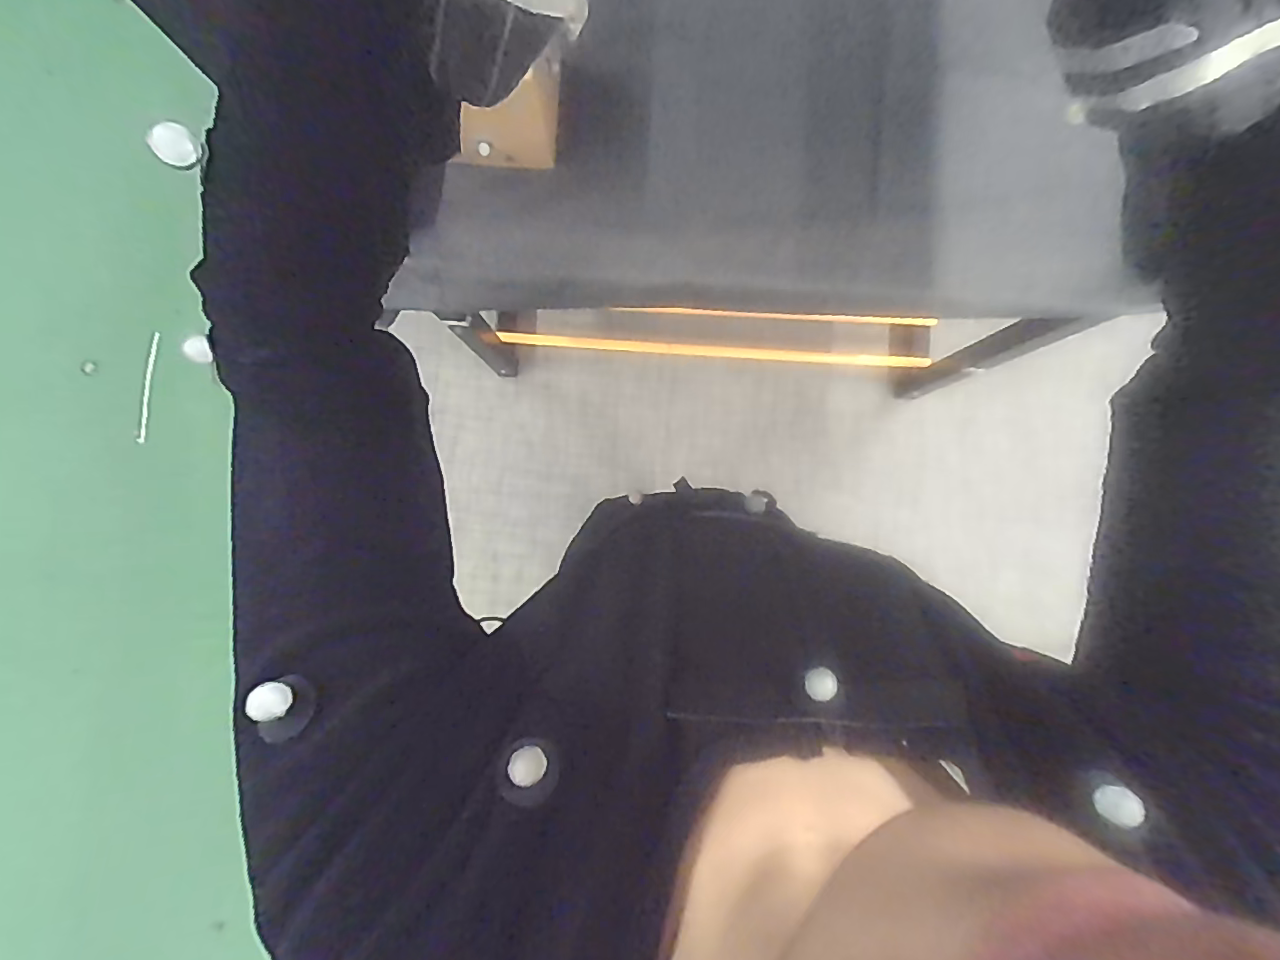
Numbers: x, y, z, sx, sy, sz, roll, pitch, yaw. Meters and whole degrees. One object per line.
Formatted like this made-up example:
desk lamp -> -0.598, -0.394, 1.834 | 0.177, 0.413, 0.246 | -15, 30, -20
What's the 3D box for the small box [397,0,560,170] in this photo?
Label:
small box -> -0.203, -0.557, 0.726 | 0.168, 0.176, 0.179 | 3, 87, 0
